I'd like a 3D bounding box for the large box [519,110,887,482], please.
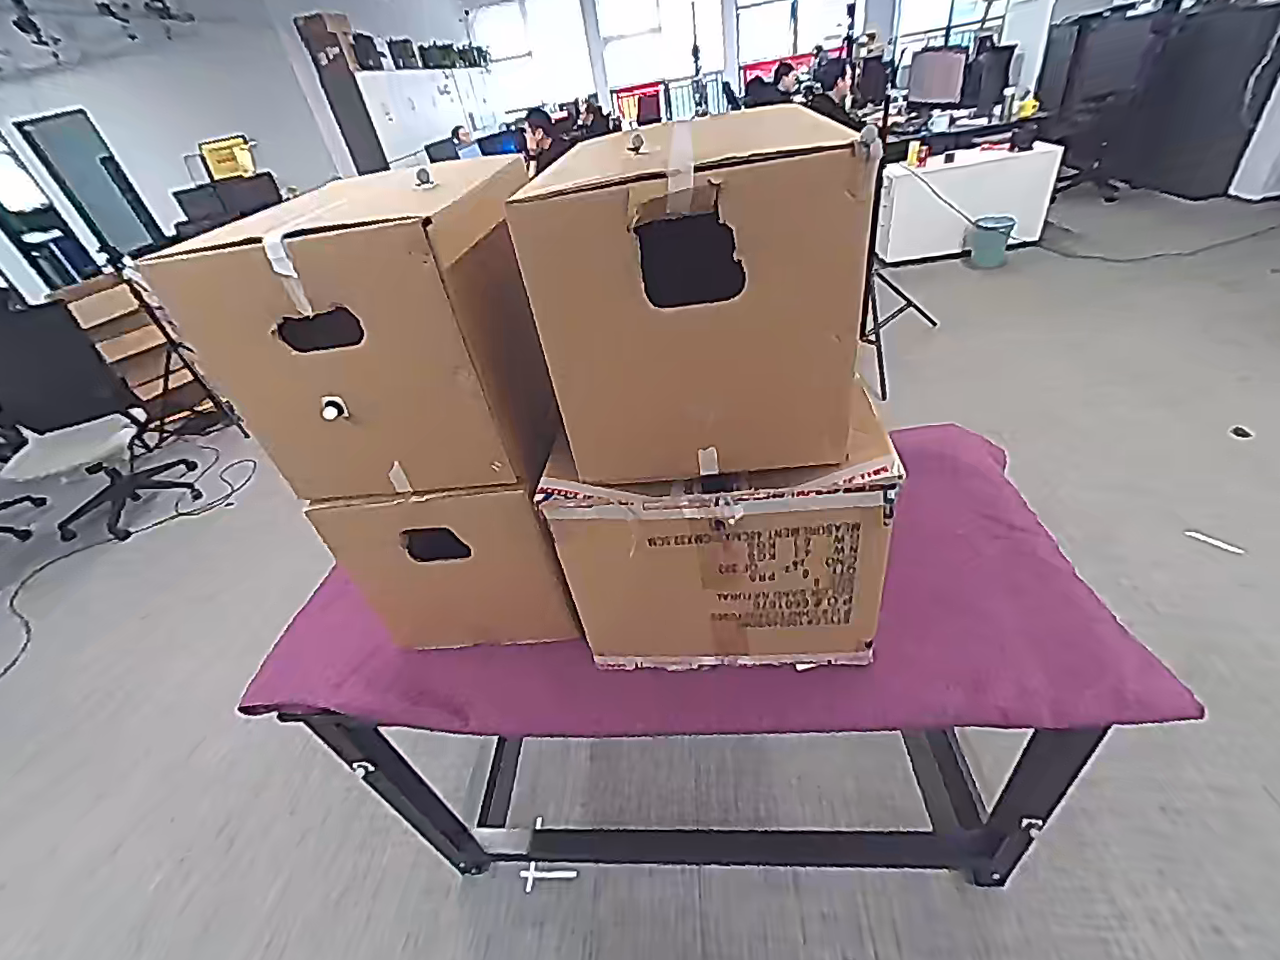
[{"bbox_3d":[0.075,-0.248,0.688,0.320,0.320,0.408,-6,38,9],"label":"large box"}]
